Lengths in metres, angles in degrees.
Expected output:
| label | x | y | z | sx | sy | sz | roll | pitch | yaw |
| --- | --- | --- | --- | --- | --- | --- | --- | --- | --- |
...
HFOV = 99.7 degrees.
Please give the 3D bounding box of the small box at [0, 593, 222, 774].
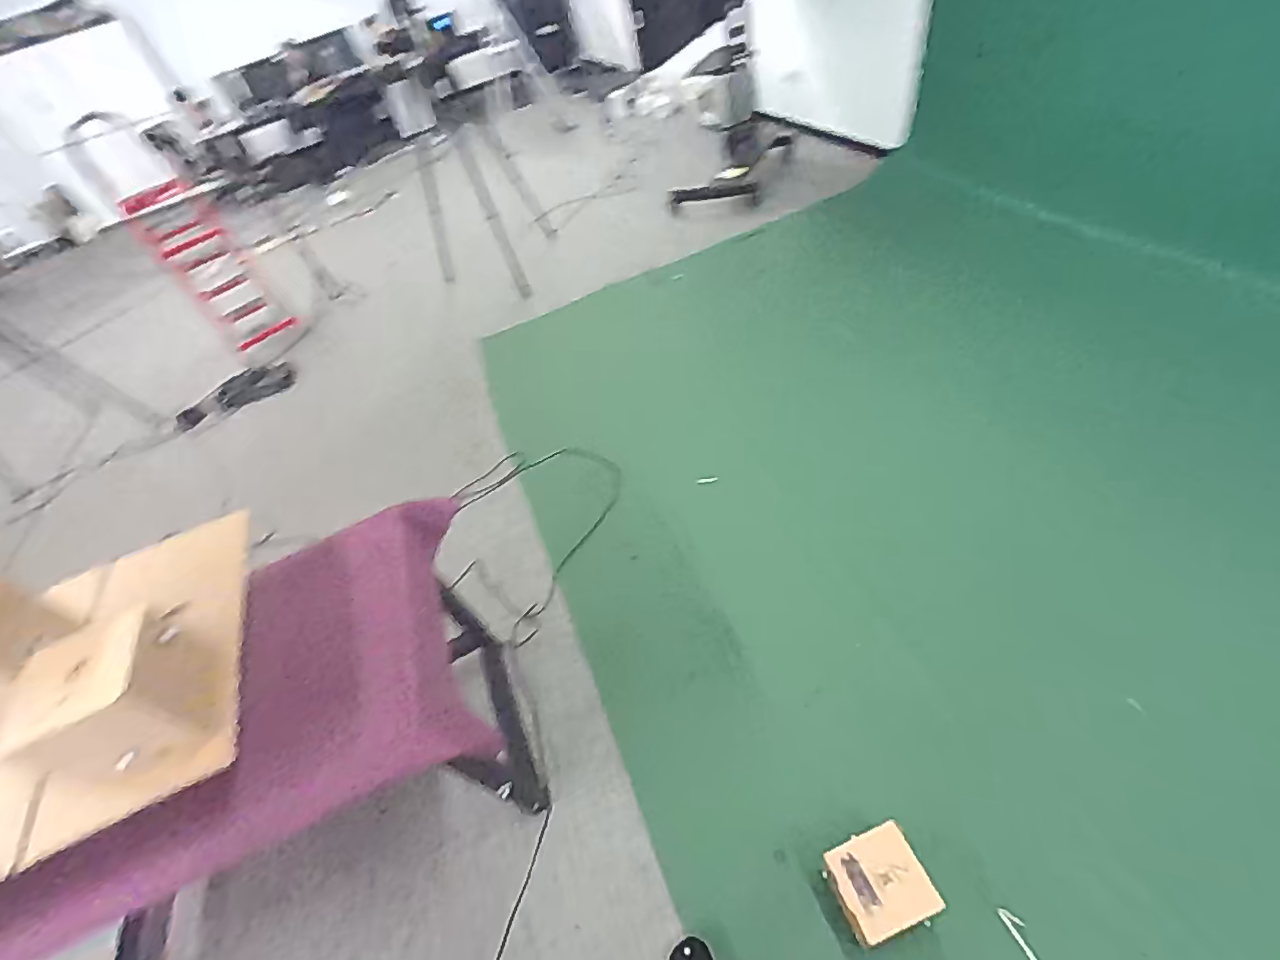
| label | x | y | z | sx | sy | sz | roll | pitch | yaw |
| --- | --- | --- | --- | --- | --- | --- | --- | --- | --- |
| small box | -0.793 | 0.315 | 0.838 | 0.168 | 0.176 | 0.179 | -25 | 48 | -10 |
